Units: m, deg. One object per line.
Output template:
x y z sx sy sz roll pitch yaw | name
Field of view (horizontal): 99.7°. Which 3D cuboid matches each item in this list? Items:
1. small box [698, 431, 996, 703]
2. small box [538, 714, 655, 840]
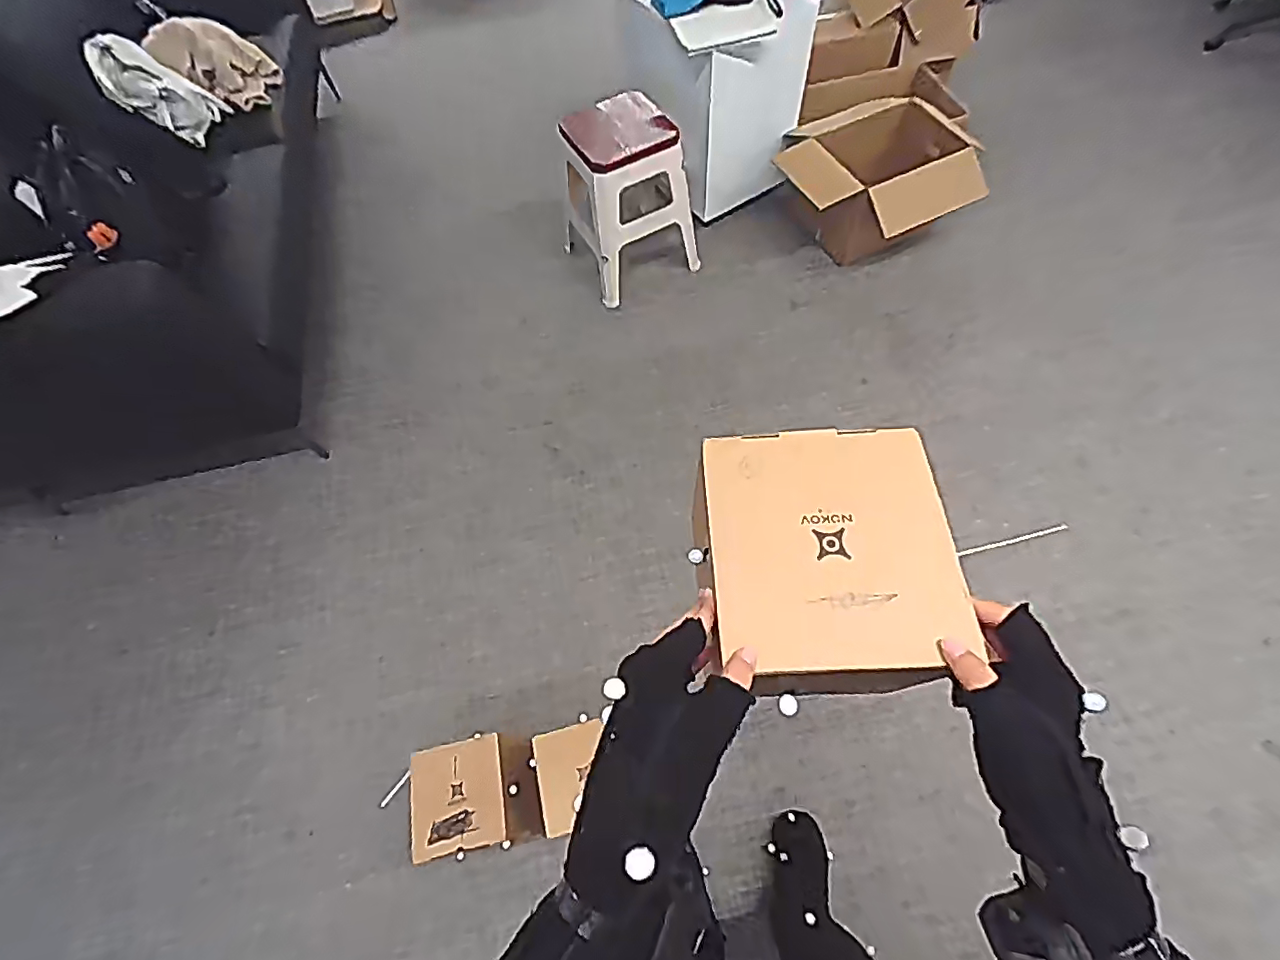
0.139 0.079 0.442 0.168 0.176 0.179 -3 63 2 | small box
-0.077 0.560 1.027 0.179 0.176 0.168 -15 63 -3 | small box
